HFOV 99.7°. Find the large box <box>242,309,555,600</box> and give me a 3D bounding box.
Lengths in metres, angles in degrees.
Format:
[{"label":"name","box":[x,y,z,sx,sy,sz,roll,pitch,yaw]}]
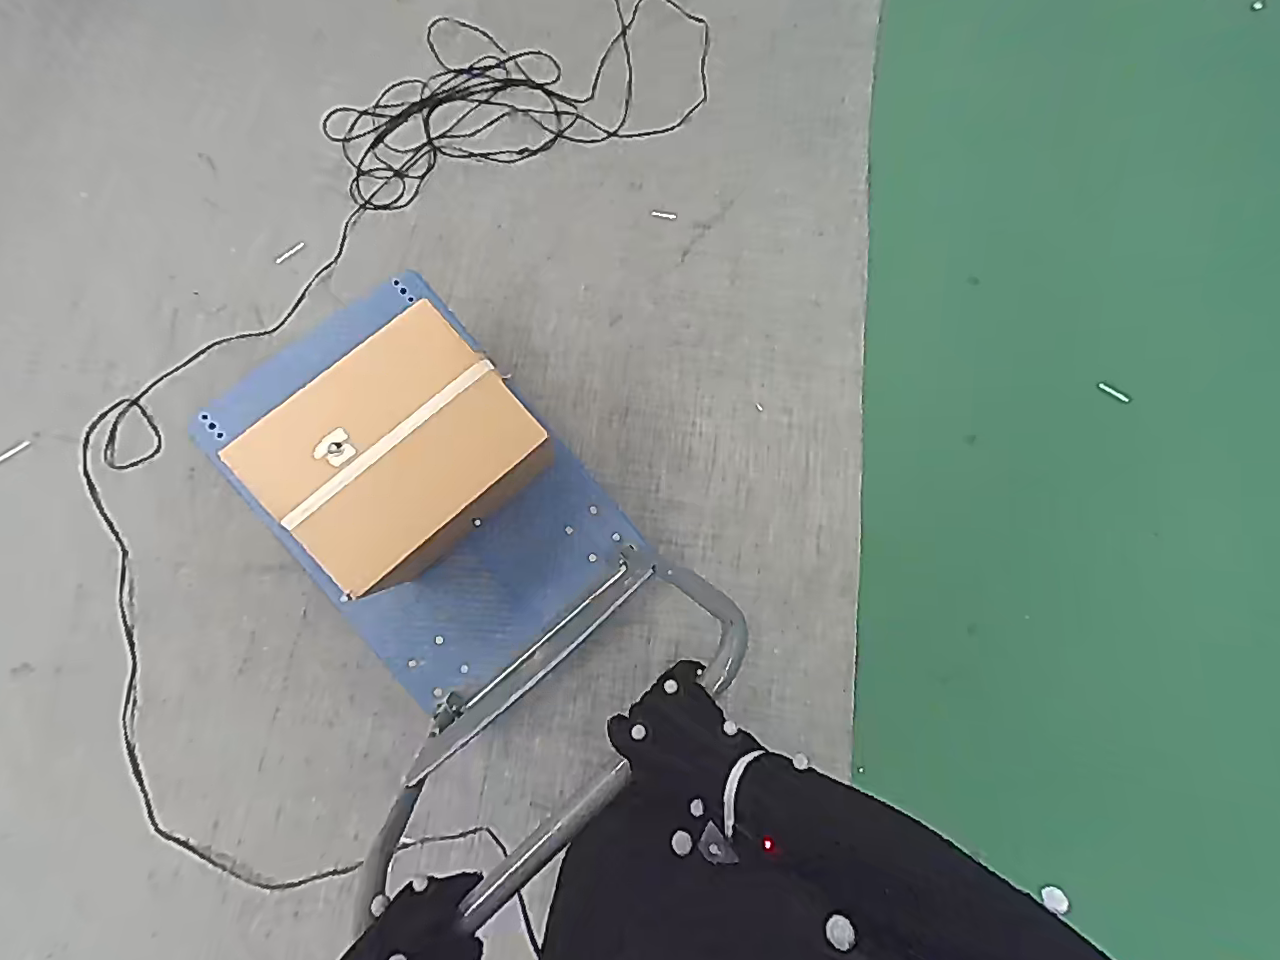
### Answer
[{"label":"large box","box":[-0.413,-0.039,1.042,0.408,0.320,0.320,-43,90,-8]}]
